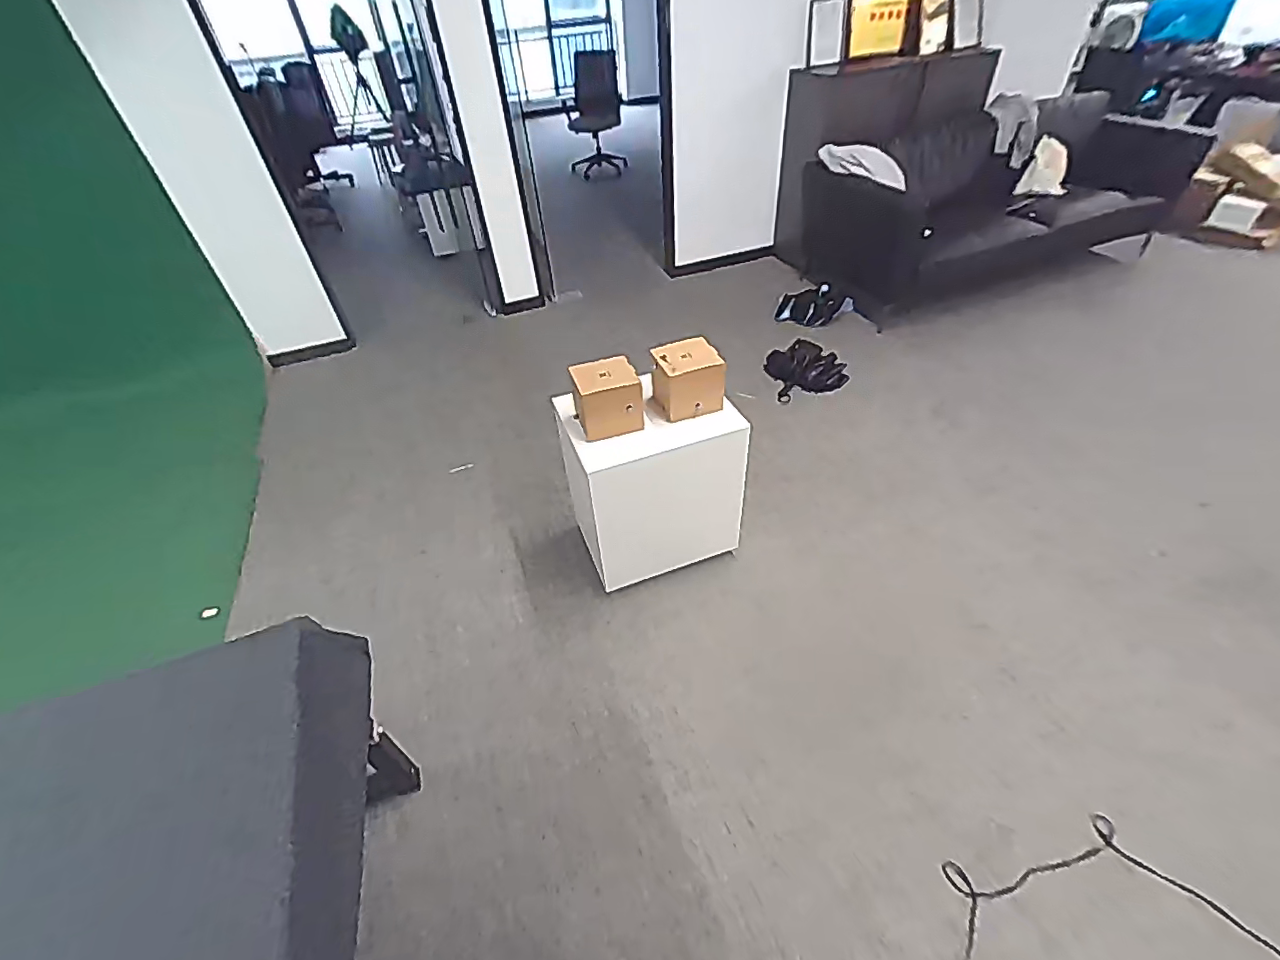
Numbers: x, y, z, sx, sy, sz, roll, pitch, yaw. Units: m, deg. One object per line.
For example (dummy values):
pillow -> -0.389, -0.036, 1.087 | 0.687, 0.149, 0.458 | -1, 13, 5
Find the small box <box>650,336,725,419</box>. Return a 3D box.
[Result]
small box -> 0.136, -0.307, 1.624 | 0.179, 0.176, 0.168 | -15, 44, -13

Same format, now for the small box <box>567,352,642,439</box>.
small box -> -0.101, -0.246, 1.574 | 0.179, 0.176, 0.168 | -16, 44, -13
